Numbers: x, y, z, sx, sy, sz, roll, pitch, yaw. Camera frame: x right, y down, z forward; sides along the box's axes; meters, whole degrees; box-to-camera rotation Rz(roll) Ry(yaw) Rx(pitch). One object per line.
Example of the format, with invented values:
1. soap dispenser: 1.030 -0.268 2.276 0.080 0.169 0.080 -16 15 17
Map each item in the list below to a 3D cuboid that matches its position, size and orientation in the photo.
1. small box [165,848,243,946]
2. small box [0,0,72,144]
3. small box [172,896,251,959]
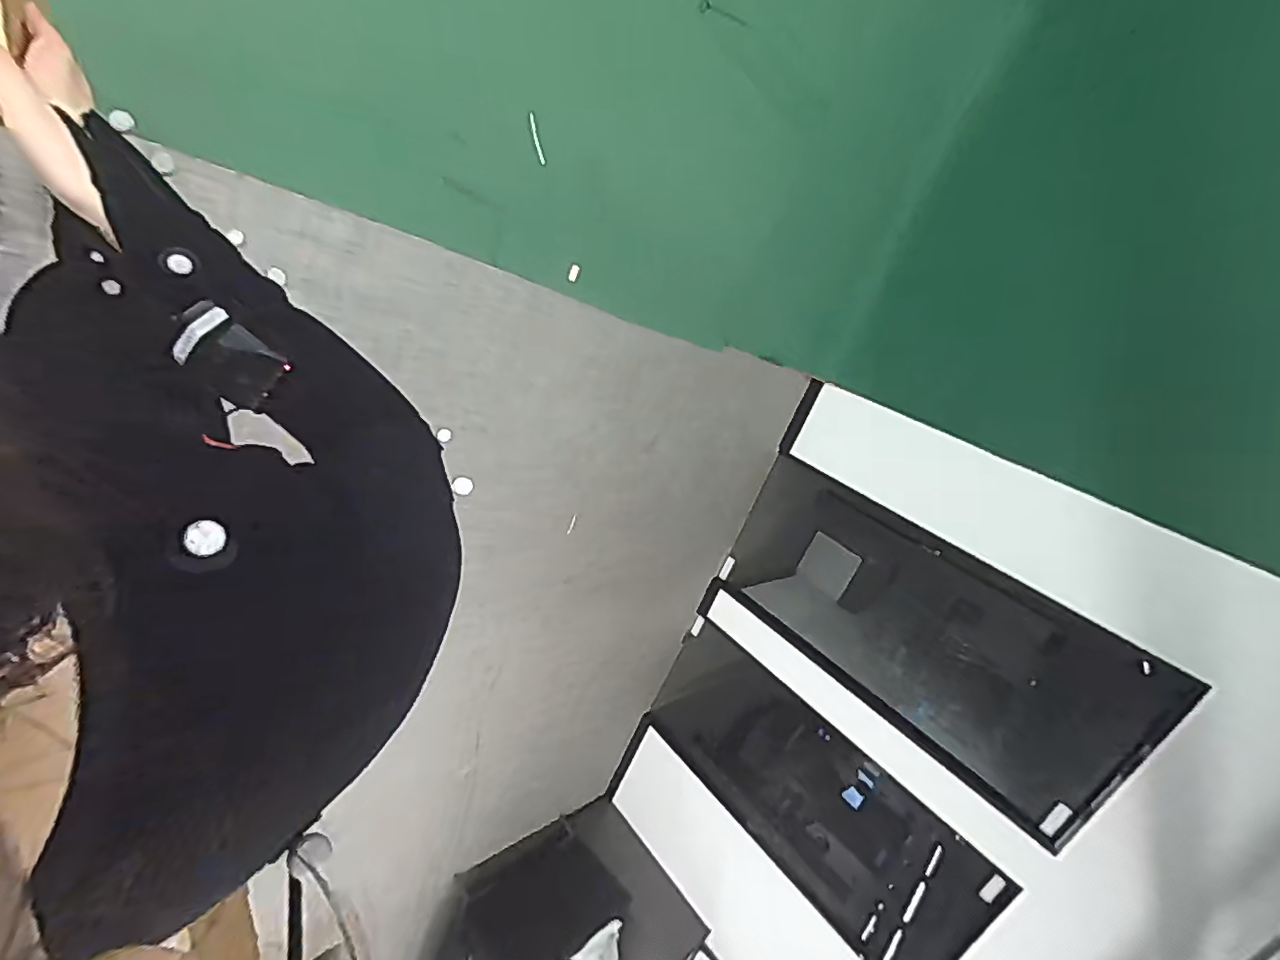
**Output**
1. small box: -1.510 1.434 1.868 0.179 0.176 0.168 3 117 -51
2. small box: -0.453 -0.308 0.298 0.168 0.176 0.179 -4 114 -38
3. small box: -1.407 1.516 1.769 0.168 0.176 0.179 5 116 -50
